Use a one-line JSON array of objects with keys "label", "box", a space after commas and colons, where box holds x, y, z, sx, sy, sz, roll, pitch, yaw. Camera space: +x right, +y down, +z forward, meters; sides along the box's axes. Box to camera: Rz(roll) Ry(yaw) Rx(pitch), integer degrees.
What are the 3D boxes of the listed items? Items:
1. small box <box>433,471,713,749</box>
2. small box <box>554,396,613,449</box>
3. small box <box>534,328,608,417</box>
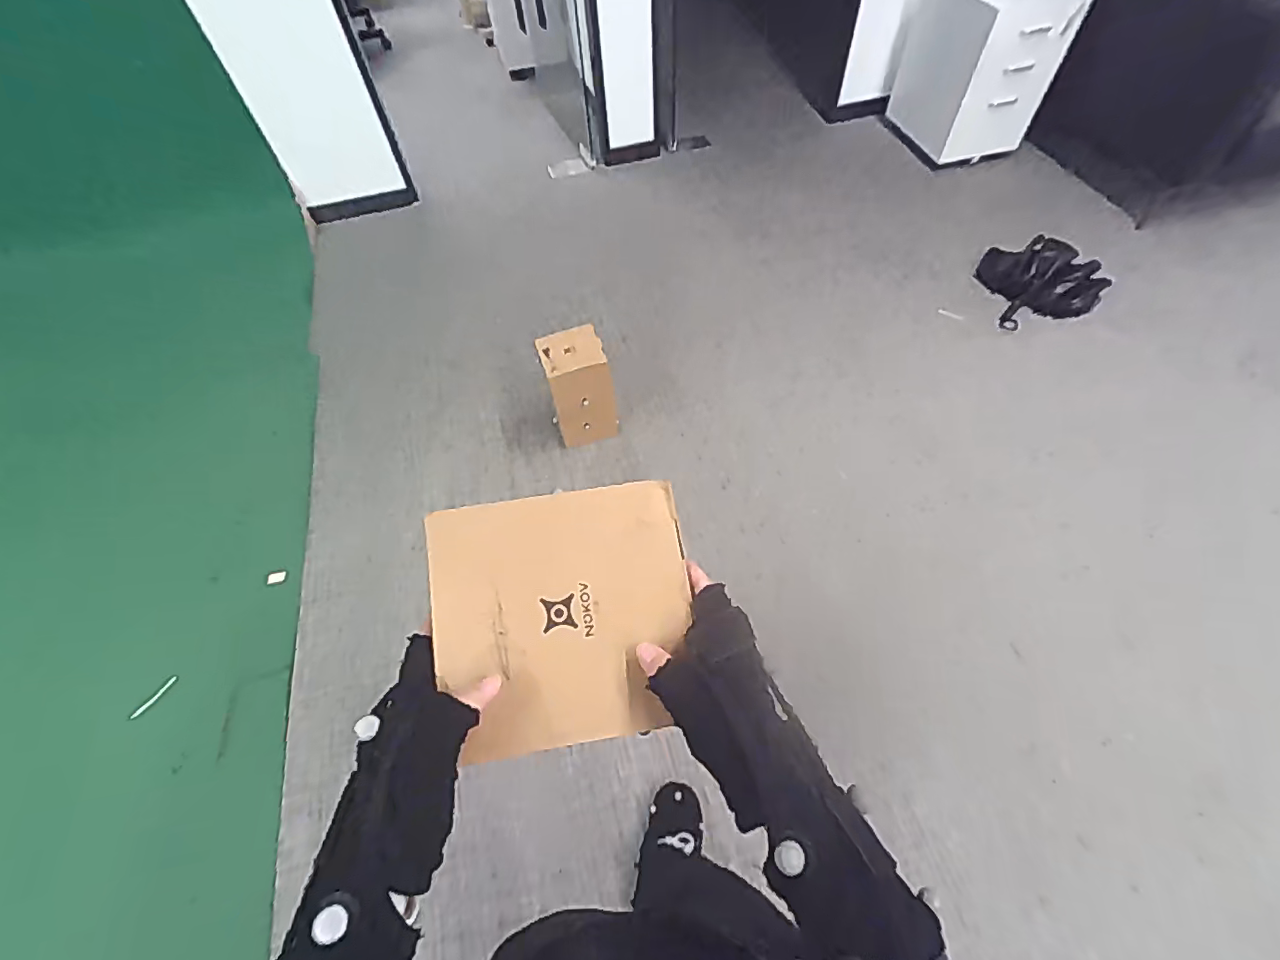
[{"label": "small box", "box": [-0.053, 0.102, 0.447, 0.179, 0.176, 0.168, -9, 75, -5]}, {"label": "small box", "box": [-0.189, -0.225, 1.727, 0.179, 0.176, 0.168, -16, 57, -6]}, {"label": "small box", "box": [-0.197, -0.312, 1.588, 0.179, 0.176, 0.168, -17, 58, -8]}]
